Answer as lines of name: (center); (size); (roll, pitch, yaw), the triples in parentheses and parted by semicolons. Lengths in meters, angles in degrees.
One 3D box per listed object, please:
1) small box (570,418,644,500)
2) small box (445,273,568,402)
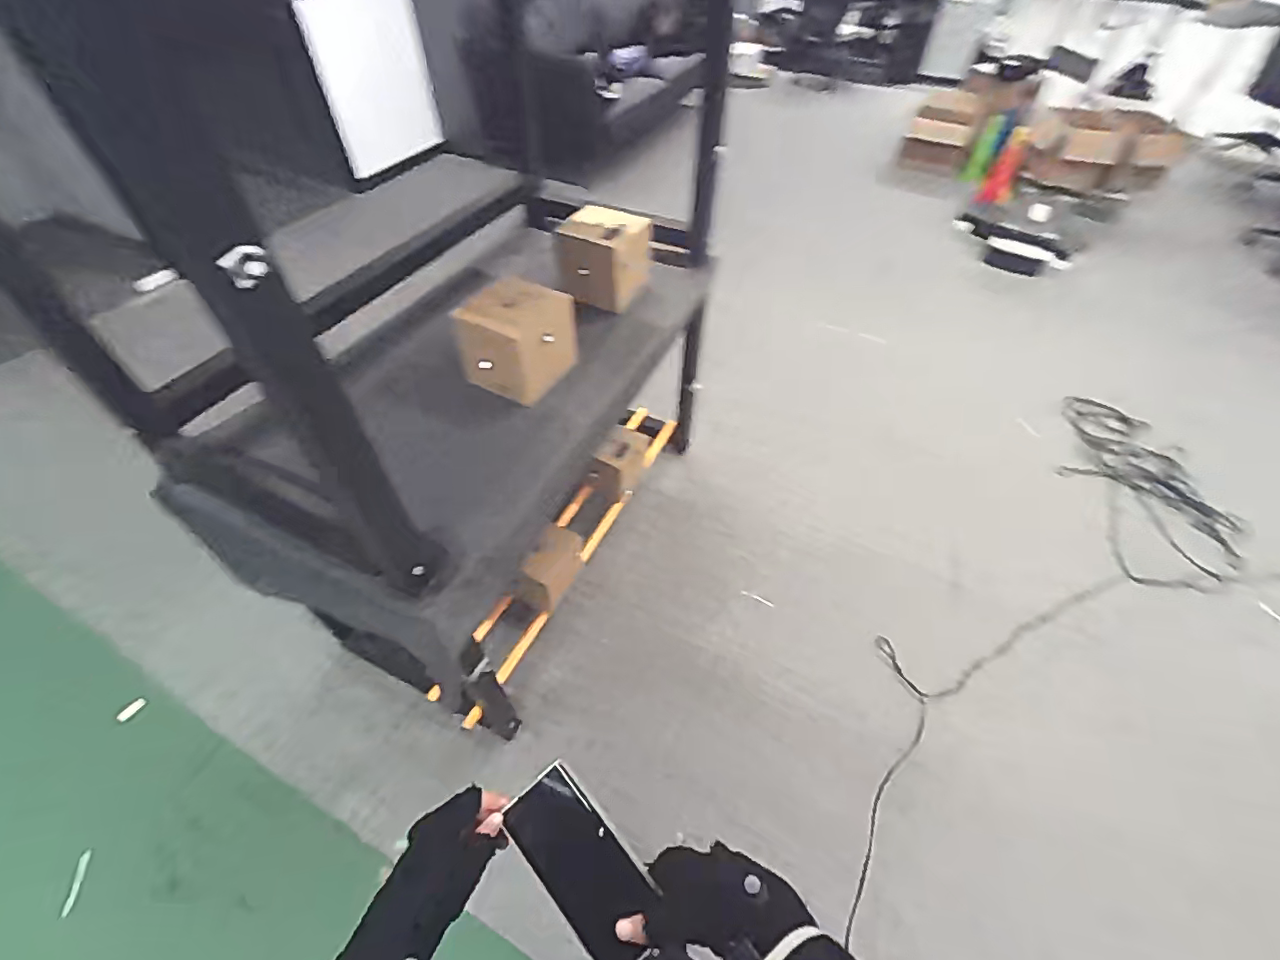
small box: (-0.102, -0.062, 1.734); (0.179, 0.176, 0.168); (24, 53, 18)
small box: (-0.259, -0.289, 1.104); (0.168, 0.176, 0.179); (24, 53, 18)
